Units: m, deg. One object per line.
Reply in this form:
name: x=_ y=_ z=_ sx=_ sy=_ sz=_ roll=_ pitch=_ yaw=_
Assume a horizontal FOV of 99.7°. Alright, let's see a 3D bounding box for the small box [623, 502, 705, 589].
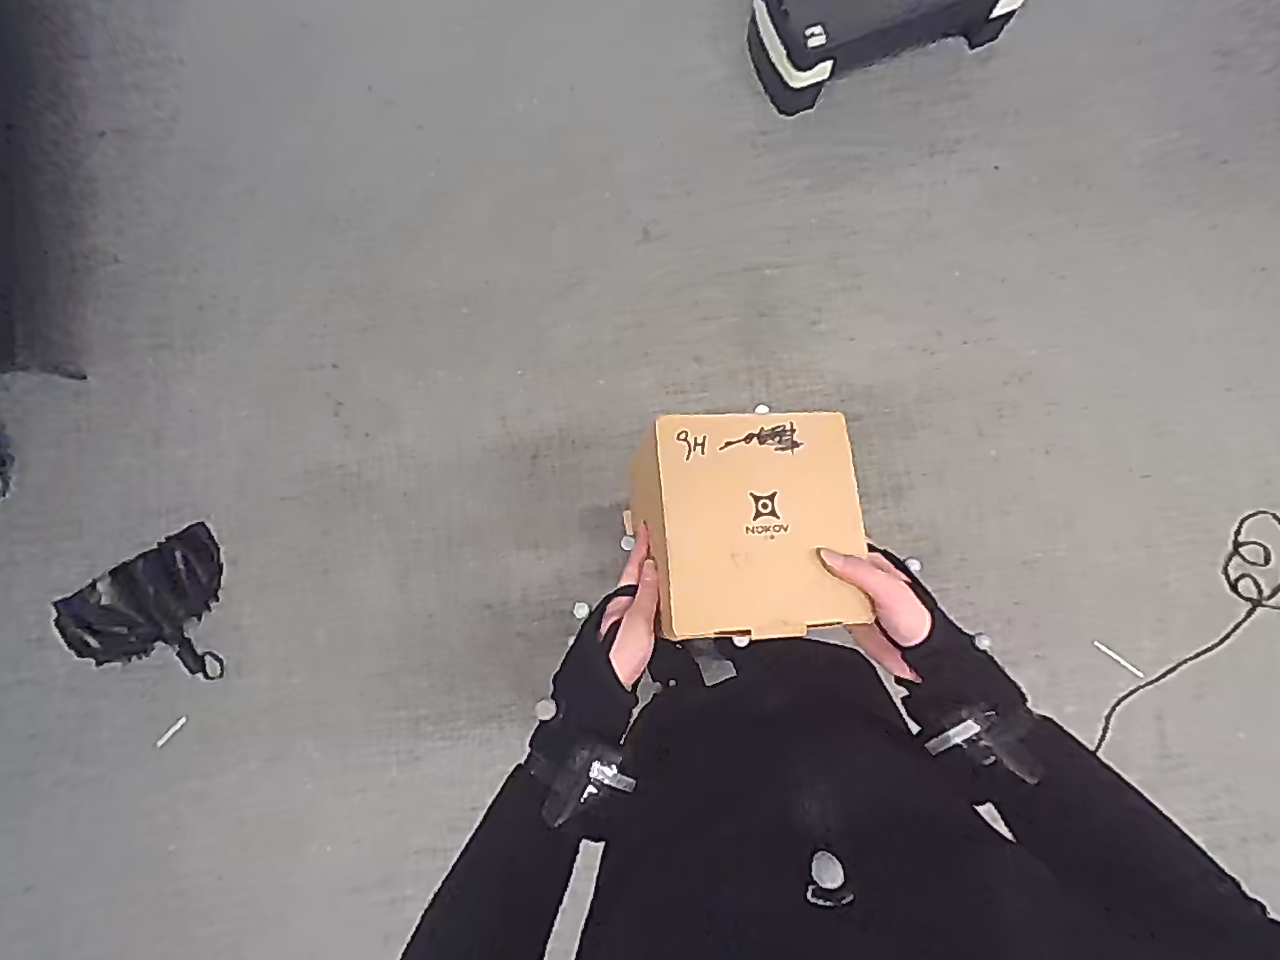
small box: x=0.055 y=0.160 z=1.333 sx=0.168 sy=0.176 sz=0.179 roll=-13 pitch=84 yaw=0
